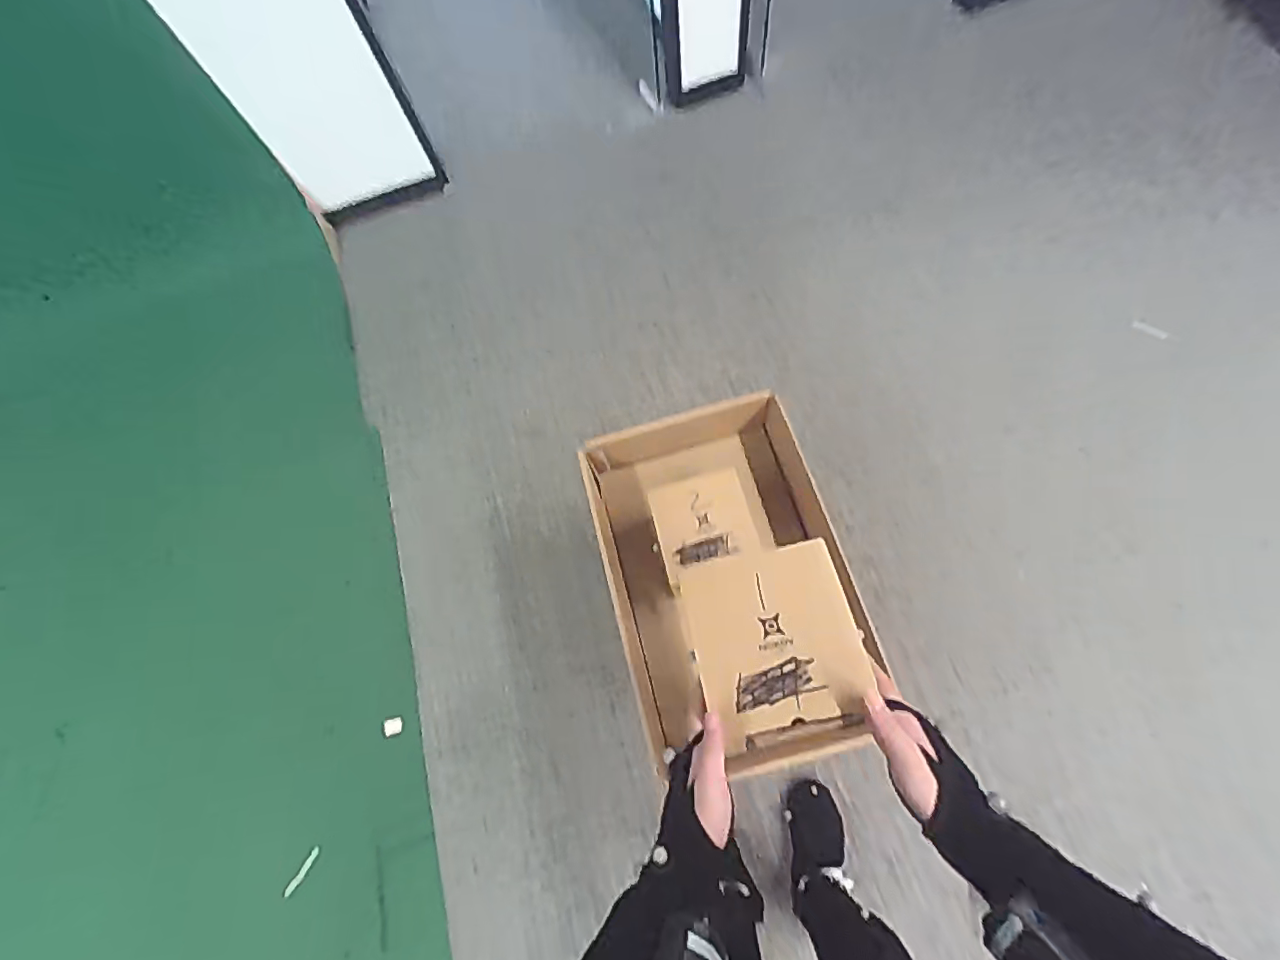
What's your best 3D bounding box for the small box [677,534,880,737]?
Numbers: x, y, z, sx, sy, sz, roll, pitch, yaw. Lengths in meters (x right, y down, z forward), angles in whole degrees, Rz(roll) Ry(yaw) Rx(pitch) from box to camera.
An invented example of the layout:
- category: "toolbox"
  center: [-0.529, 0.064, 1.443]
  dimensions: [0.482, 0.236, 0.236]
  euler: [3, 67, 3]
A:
- category: "small box"
  center: [0.148, 0.185, 0.616]
  dimensions: [0.168, 0.176, 0.179]
  euler: [-14, 62, 5]
